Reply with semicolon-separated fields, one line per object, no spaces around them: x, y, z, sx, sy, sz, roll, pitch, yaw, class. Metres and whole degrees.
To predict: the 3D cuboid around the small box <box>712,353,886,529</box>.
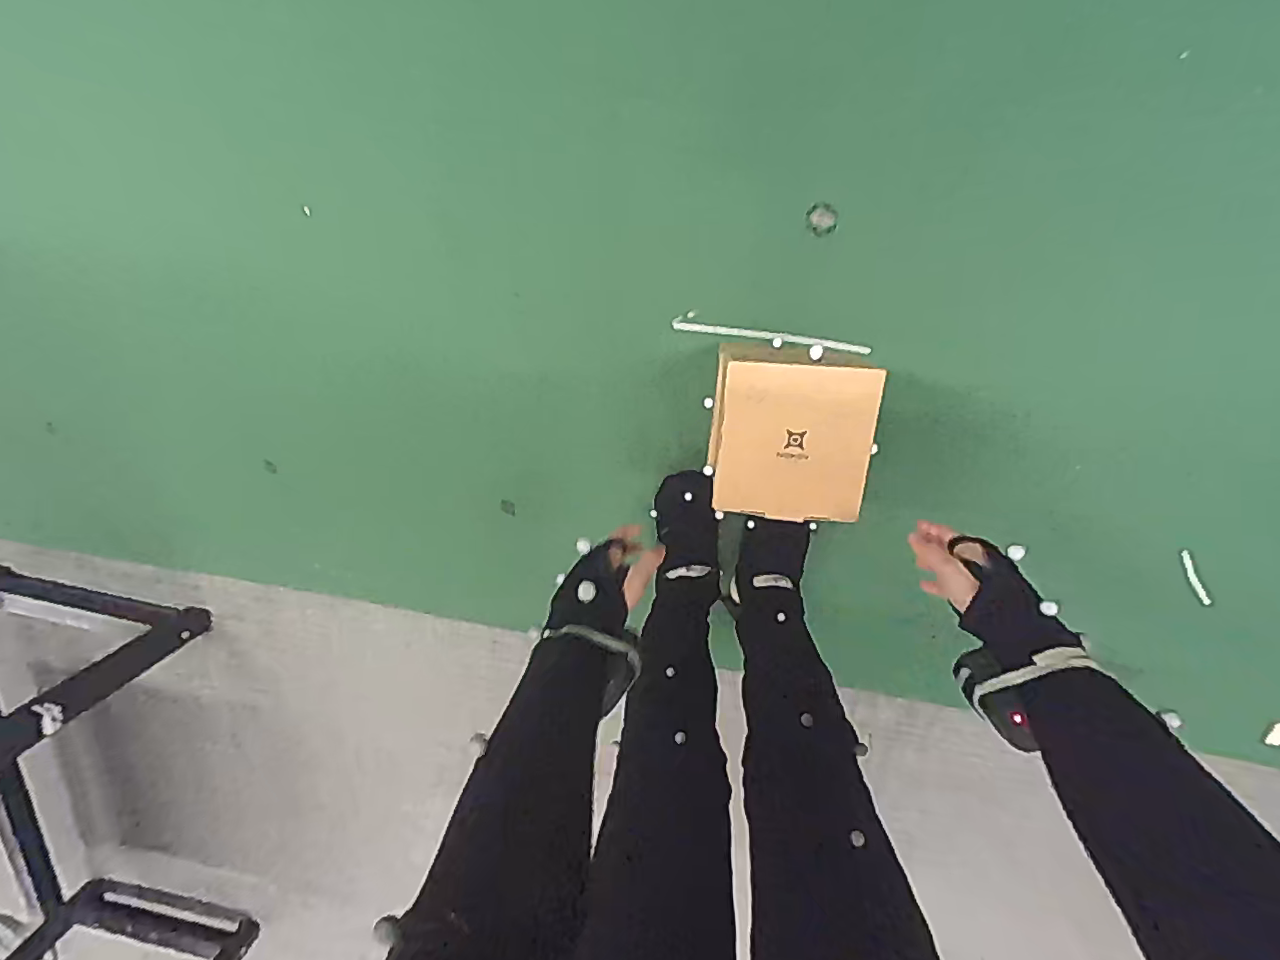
0.179;-0.059;0.667;0.168;0.176;0.179;6;109;6;small box
